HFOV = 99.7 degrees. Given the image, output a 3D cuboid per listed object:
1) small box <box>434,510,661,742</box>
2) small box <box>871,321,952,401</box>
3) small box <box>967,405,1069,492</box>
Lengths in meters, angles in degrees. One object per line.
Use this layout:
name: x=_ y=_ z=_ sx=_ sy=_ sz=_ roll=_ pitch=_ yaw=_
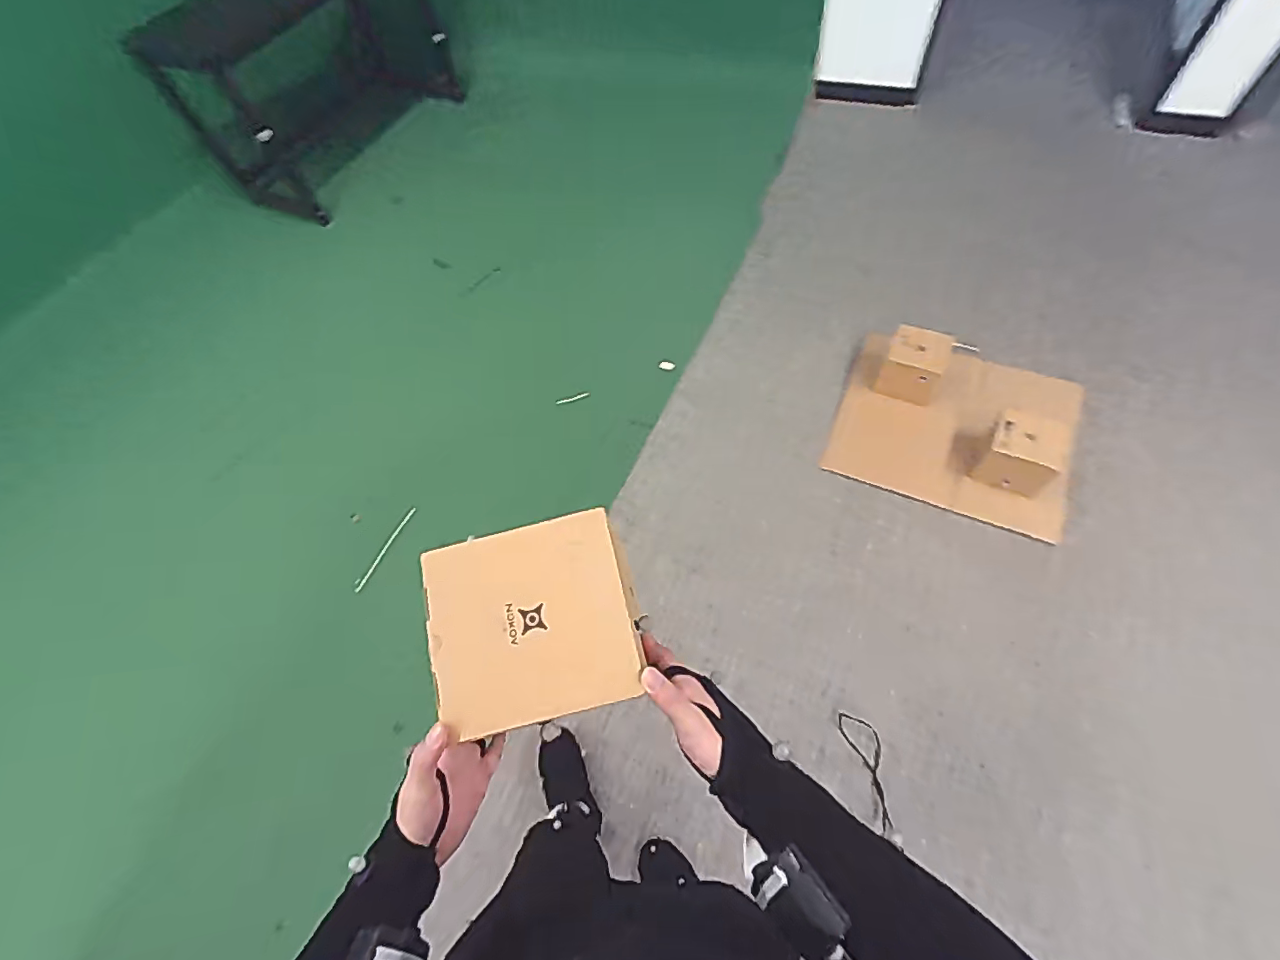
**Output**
small box: x=-0.079 y=0.144 z=0.541 sx=0.179 sy=0.176 sz=0.168 roll=-14 pitch=72 yaw=2
small box: x=0.886 y=-0.384 z=1.774 sx=0.179 sy=0.176 sz=0.168 roll=21 pitch=67 yaw=18
small box: x=1.105 y=-0.086 z=1.590 sx=0.179 sy=0.176 sz=0.168 roll=23 pitch=67 yaw=19
